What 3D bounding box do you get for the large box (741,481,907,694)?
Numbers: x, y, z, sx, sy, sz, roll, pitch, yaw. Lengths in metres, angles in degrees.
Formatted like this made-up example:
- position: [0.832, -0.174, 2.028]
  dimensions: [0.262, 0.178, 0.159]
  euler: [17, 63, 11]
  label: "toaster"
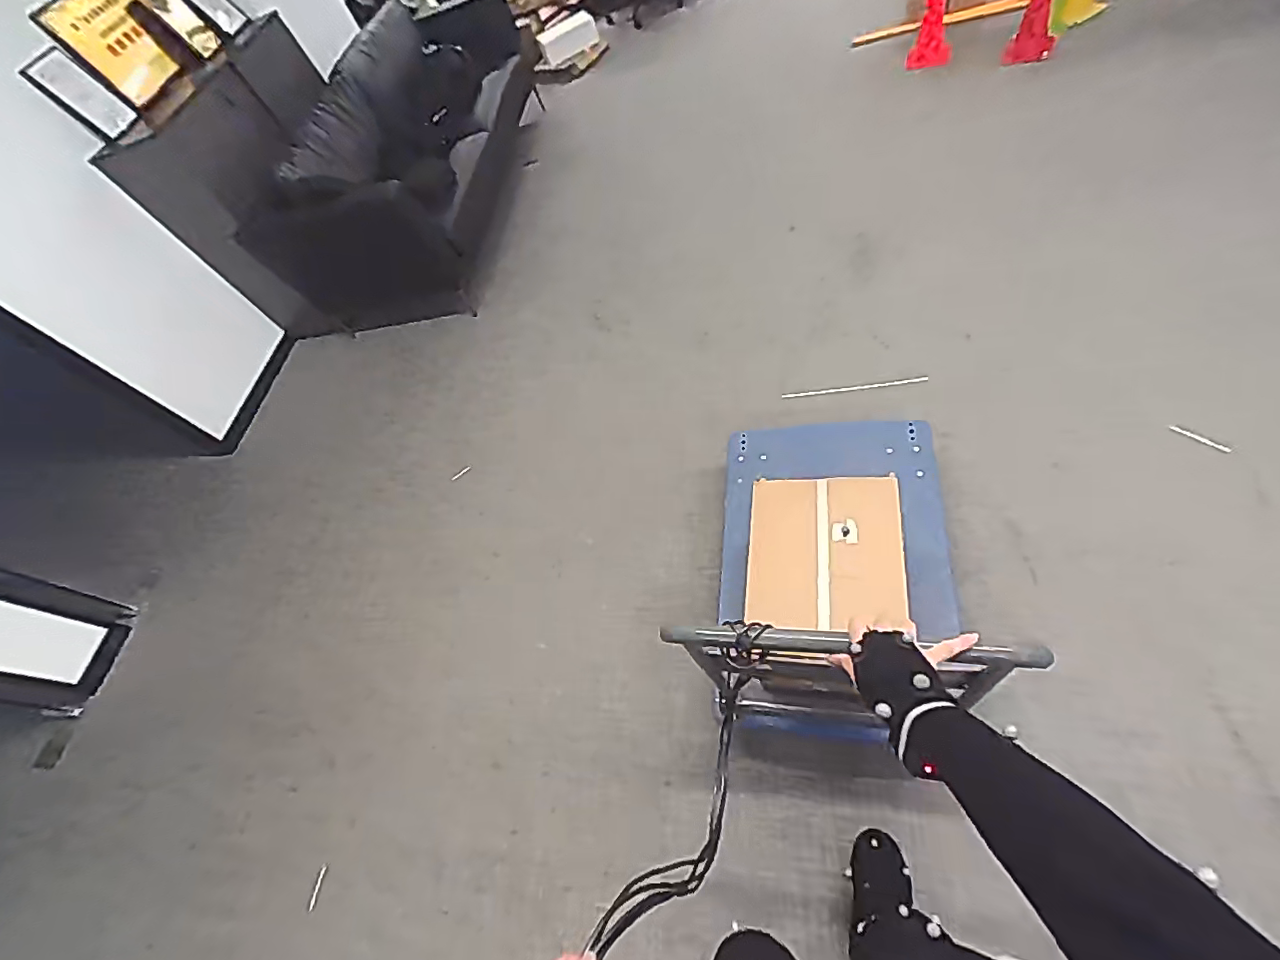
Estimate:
- position: [0.426, 0.253, 1.270]
  dimensions: [0.320, 0.320, 0.408]
  euler: [-1, 58, 19]
  label: "large box"
